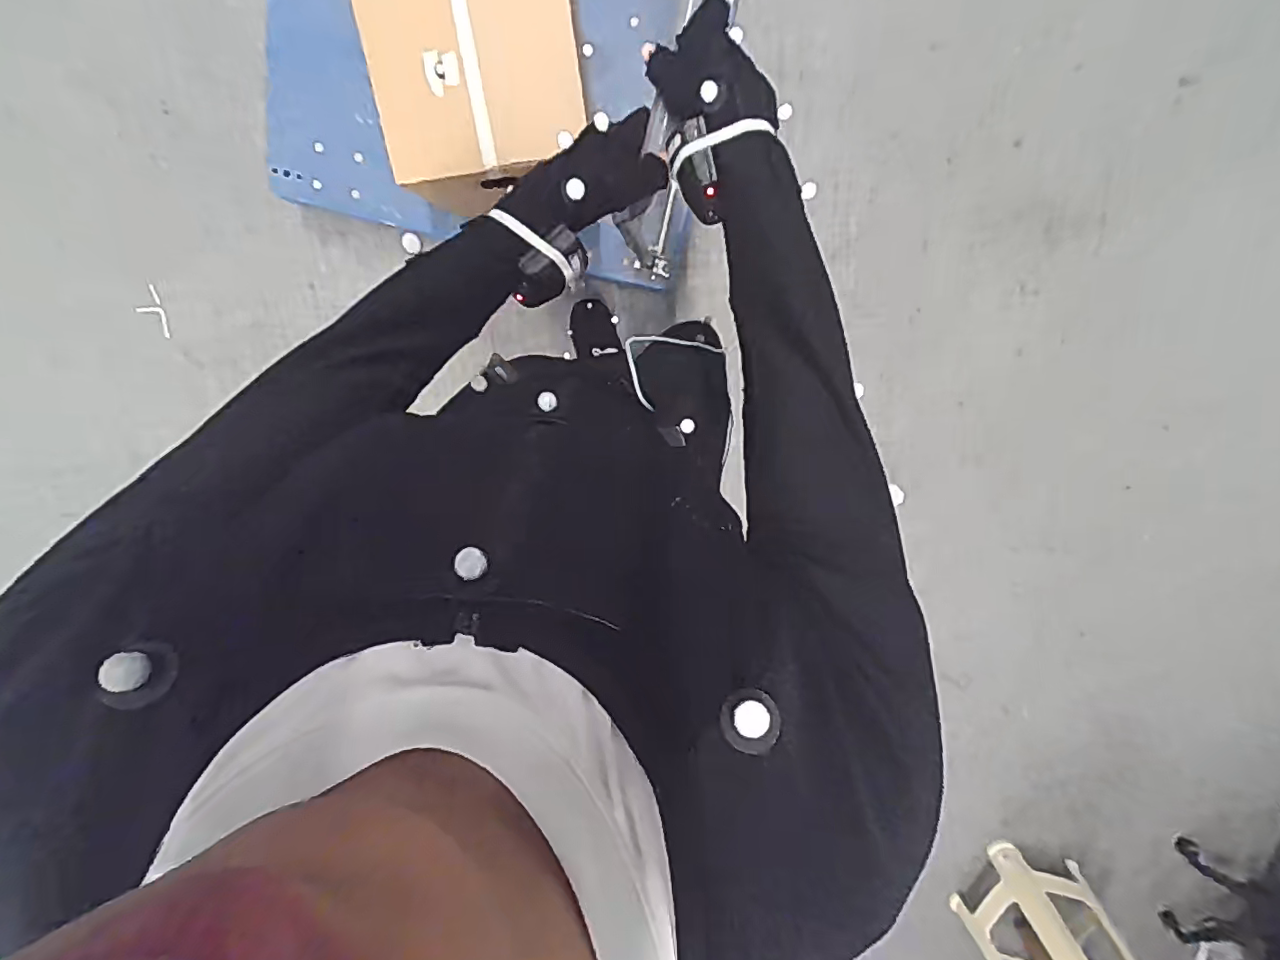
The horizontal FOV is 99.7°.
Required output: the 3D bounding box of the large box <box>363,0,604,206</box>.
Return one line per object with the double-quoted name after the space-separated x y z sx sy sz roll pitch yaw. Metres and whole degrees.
-0.245 -0.728 0.919 0.320 0.320 0.408 -7 108 2 "large box"
